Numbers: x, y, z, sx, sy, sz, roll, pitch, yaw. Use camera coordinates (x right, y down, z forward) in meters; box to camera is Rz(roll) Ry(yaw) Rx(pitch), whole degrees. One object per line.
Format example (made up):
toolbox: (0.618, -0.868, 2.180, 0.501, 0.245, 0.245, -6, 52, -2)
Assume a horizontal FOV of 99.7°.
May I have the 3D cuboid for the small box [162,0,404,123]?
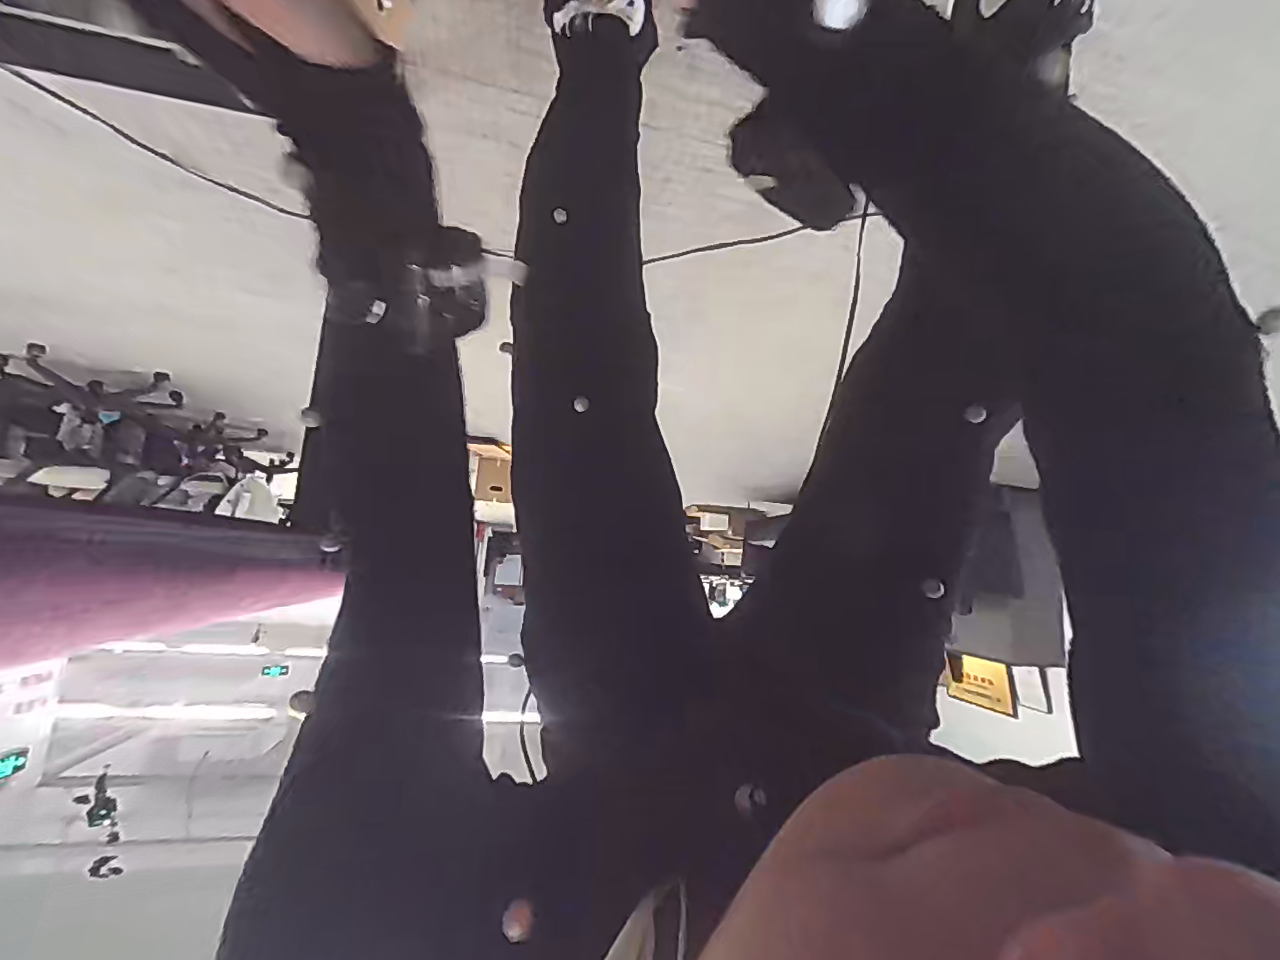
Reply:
small box: (-0.365, -0.523, 0.571, 0.179, 0.176, 0.168, 5, 171, -4)
